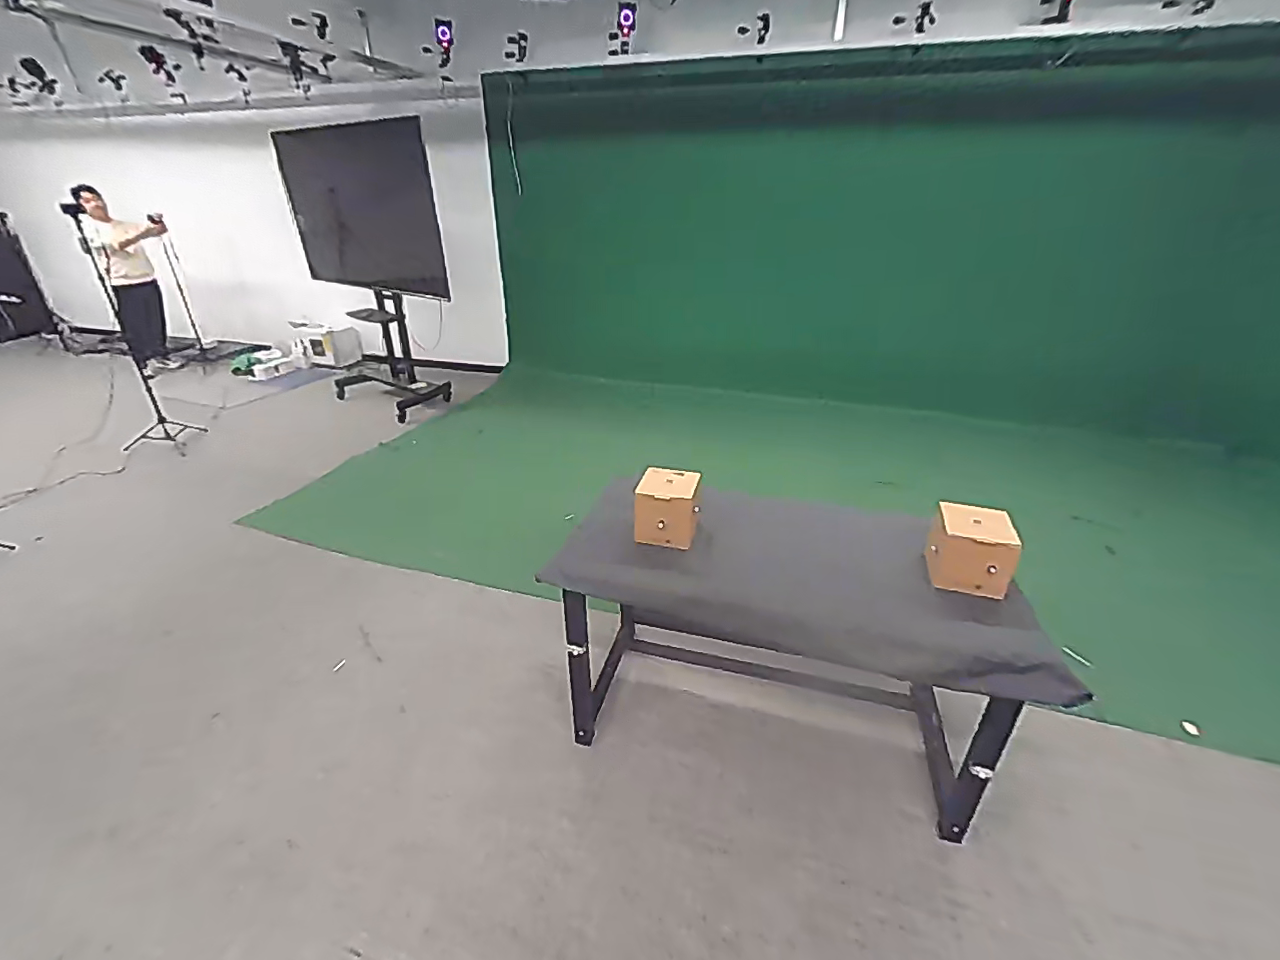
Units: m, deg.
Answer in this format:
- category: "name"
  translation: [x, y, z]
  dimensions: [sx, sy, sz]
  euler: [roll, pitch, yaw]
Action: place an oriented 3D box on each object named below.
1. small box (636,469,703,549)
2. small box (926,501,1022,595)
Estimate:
- category: "small box"
  translation: [0.091, 0.086, 1.617]
  dimensions: [0.168, 0.176, 0.179]
  euler: [7, 28, 13]
- category: "small box"
  translation: [0.870, 0.179, 1.424]
  dimensions: [0.168, 0.176, 0.179]
  euler: [10, 28, 17]
